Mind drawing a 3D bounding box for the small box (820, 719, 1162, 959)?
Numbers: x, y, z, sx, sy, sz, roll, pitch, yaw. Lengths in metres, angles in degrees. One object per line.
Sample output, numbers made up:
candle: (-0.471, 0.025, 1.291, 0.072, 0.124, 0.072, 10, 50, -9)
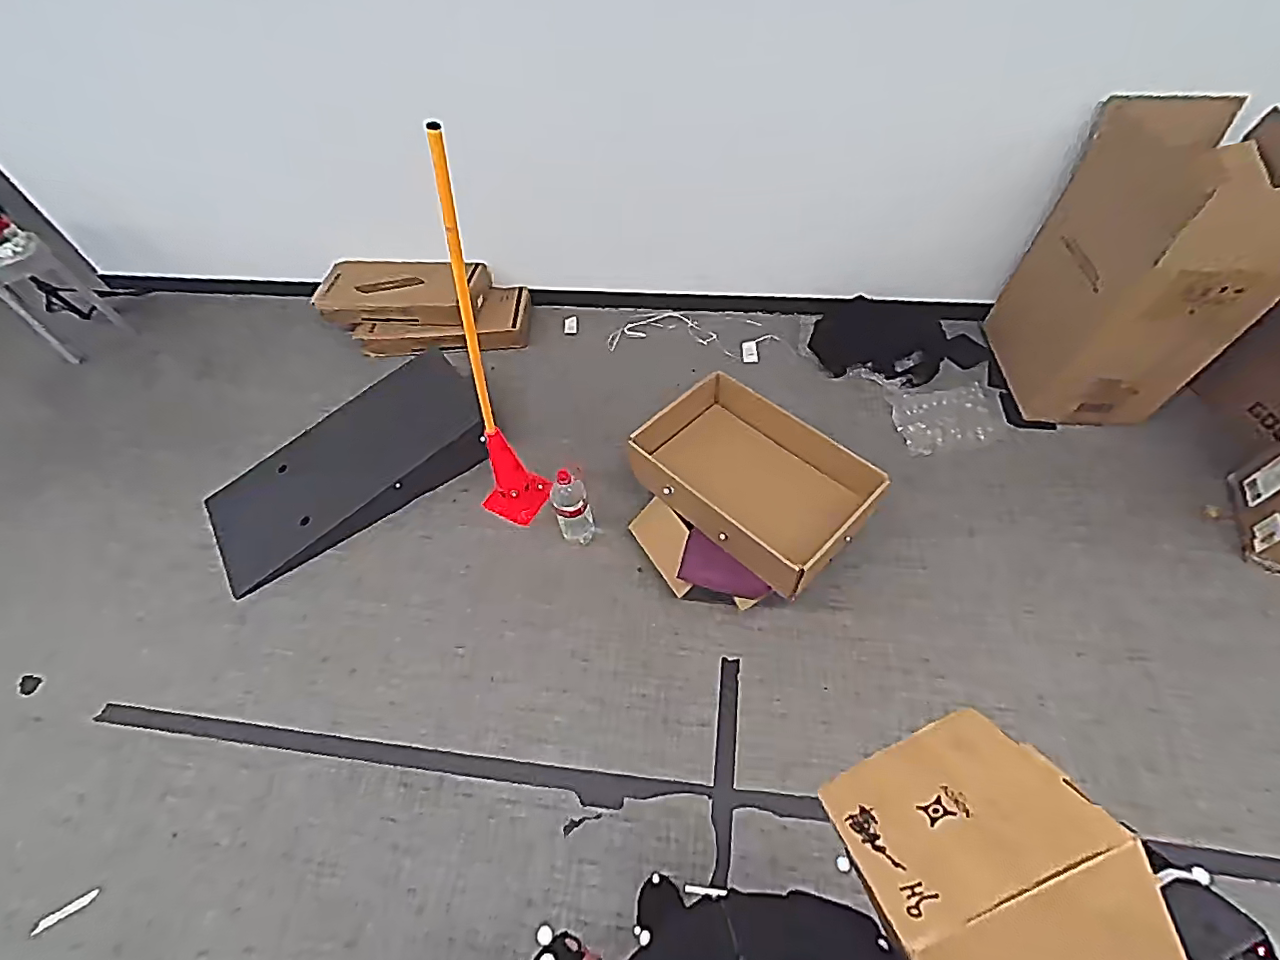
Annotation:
small box: (0.293, 0.354, 0.466, 0.179, 0.168, 0.176, -26, 97, -1)
